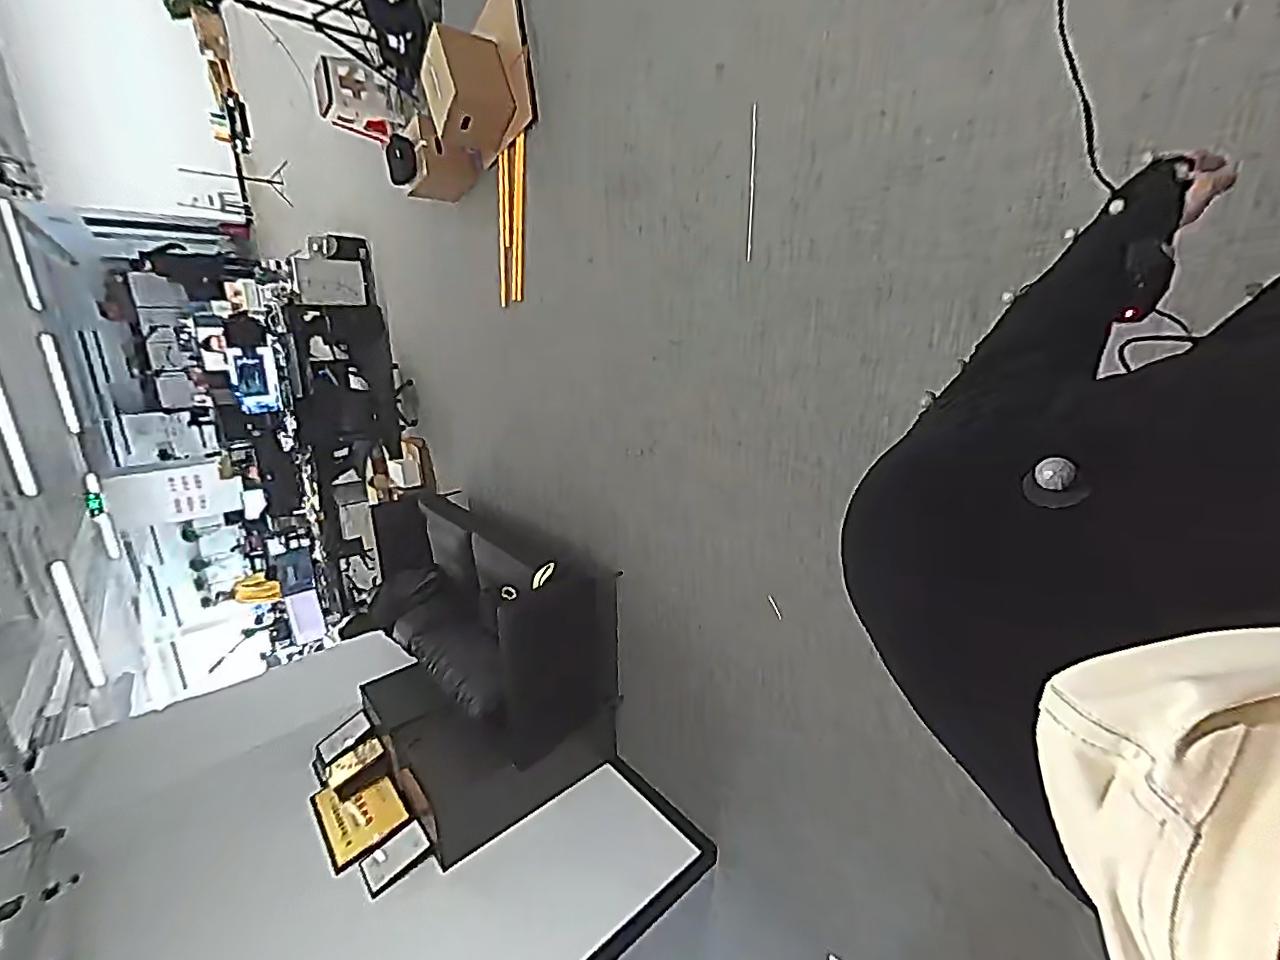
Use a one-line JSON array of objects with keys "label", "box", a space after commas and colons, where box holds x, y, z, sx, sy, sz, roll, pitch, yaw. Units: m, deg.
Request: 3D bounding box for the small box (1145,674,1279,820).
[{"label": "small box", "box": [1.208, 0.548, 1.133, 0.168, 0.176, 0.179, 23, 117, 43]}]
